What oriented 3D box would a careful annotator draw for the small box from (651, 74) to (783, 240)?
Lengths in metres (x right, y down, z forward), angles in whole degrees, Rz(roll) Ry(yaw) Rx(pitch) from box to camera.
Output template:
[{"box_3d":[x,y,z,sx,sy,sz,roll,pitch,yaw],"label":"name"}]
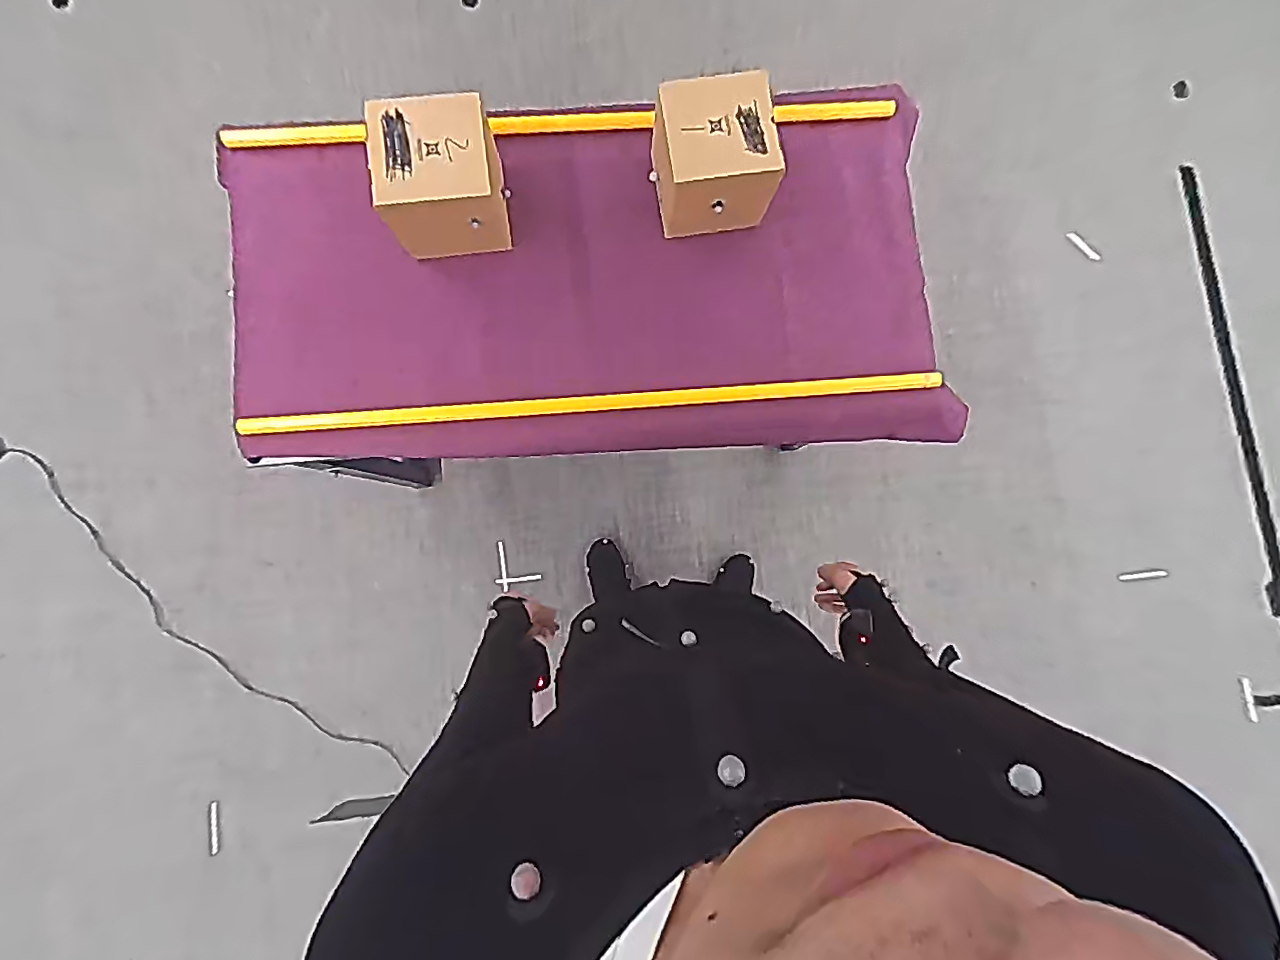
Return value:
[{"box_3d":[0.119,-0.527,0.902,0.179,0.176,0.168,-9,86,-2],"label":"small box"}]
